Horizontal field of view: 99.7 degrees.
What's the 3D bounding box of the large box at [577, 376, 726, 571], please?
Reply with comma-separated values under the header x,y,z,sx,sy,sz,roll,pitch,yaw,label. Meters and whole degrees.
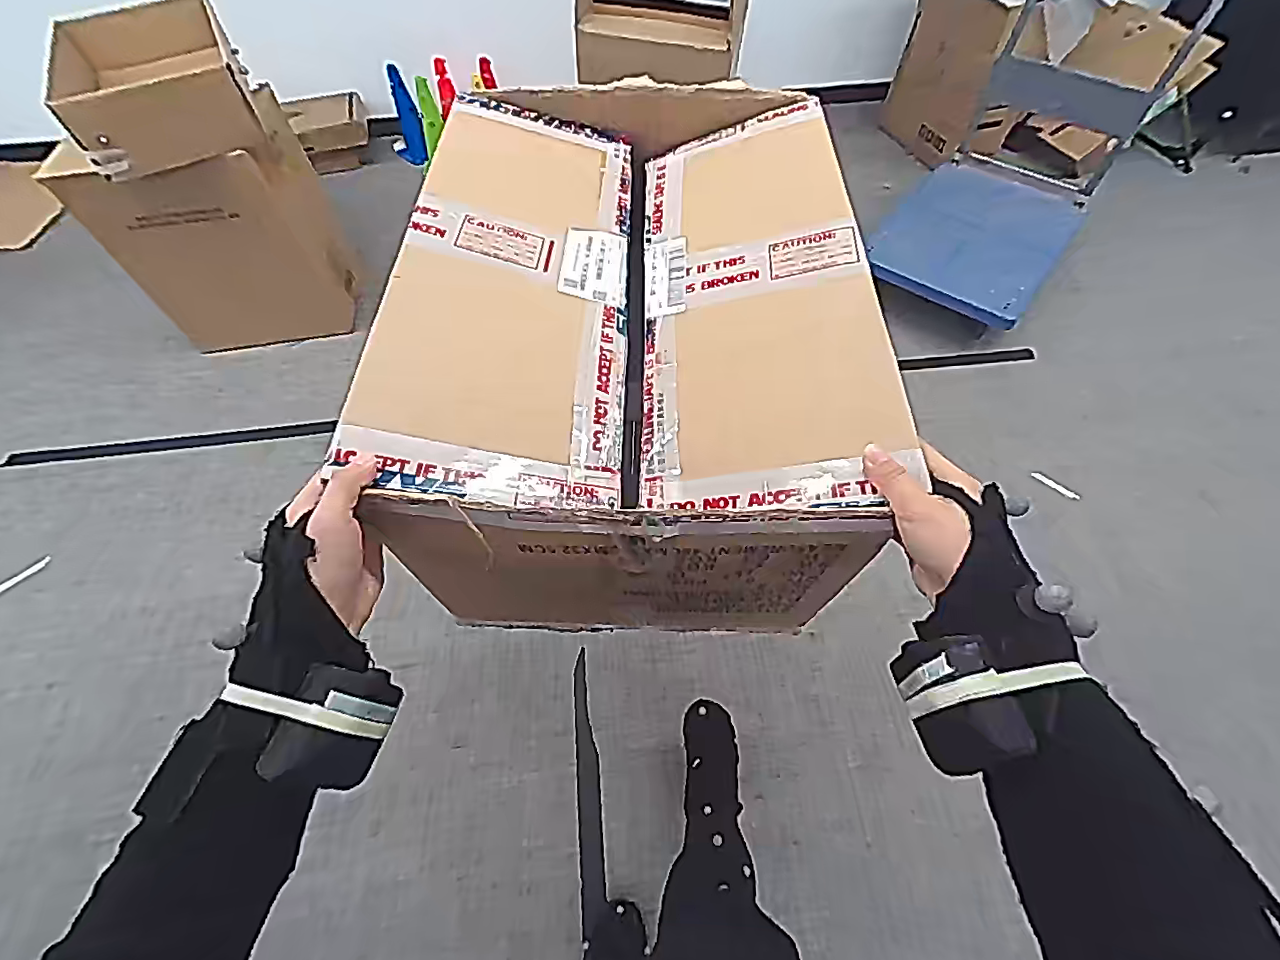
x,y,z,sx,sy,sz,roll,pitch,yaw,label
0.015,-0.016,1.442,0.320,0.320,0.408,-7,58,-3,large box
